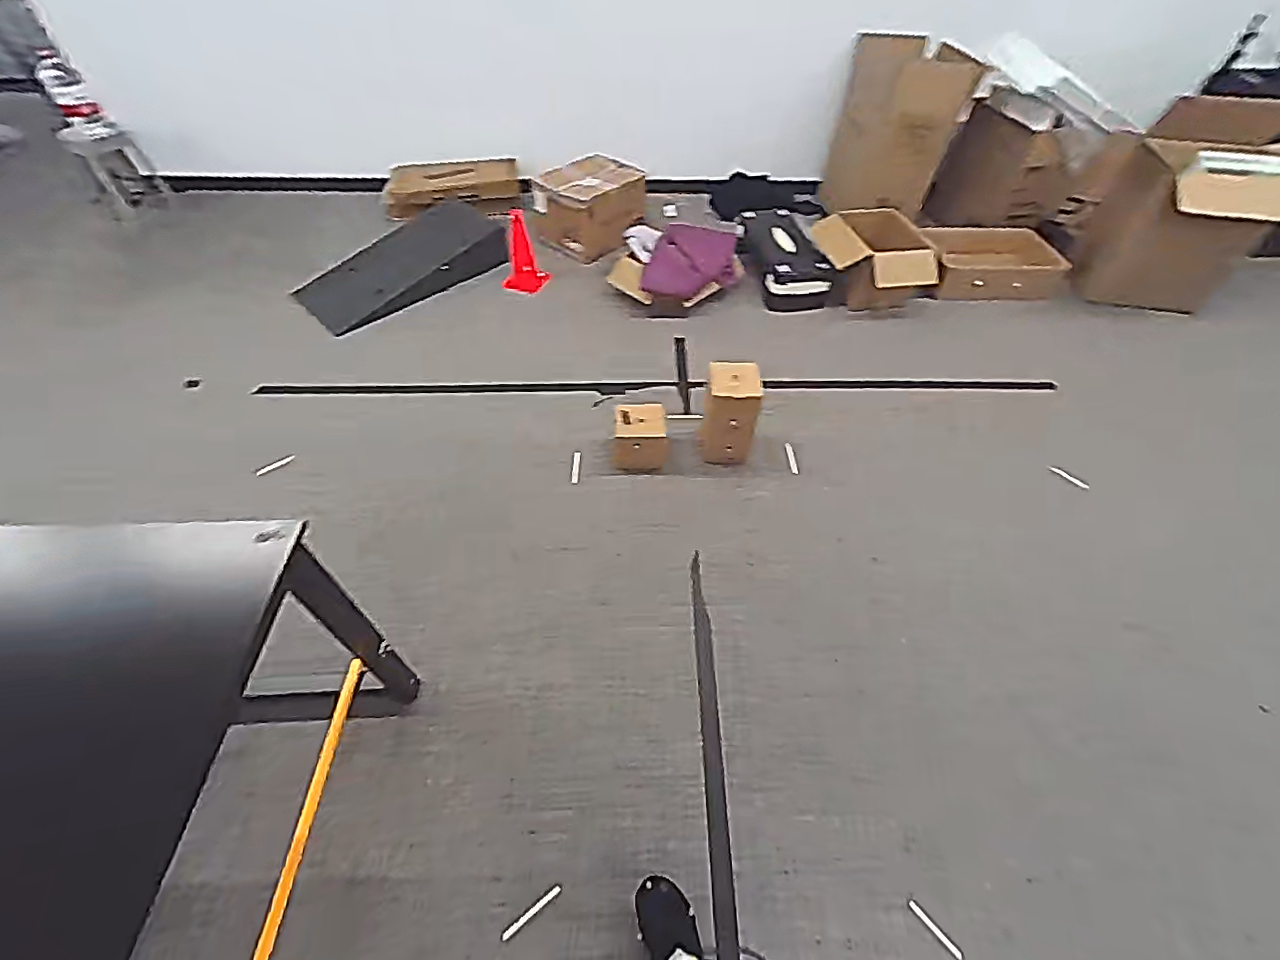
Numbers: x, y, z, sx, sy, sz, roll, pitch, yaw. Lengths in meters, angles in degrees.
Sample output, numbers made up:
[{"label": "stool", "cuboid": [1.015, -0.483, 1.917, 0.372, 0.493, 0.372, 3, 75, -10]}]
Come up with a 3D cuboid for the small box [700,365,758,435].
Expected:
[{"label": "small box", "cuboid": [0.301, -0.276, 1.865, 0.168, 0.176, 0.179, 0, 50, 0]}]

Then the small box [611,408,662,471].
[{"label": "small box", "cuboid": [-0.015, -0.144, 1.963, 0.179, 0.176, 0.168, -2, 50, -3]}]

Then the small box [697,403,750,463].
[{"label": "small box", "cuboid": [0.303, -0.174, 1.997, 0.168, 0.176, 0.179, -1, 50, -1]}]
